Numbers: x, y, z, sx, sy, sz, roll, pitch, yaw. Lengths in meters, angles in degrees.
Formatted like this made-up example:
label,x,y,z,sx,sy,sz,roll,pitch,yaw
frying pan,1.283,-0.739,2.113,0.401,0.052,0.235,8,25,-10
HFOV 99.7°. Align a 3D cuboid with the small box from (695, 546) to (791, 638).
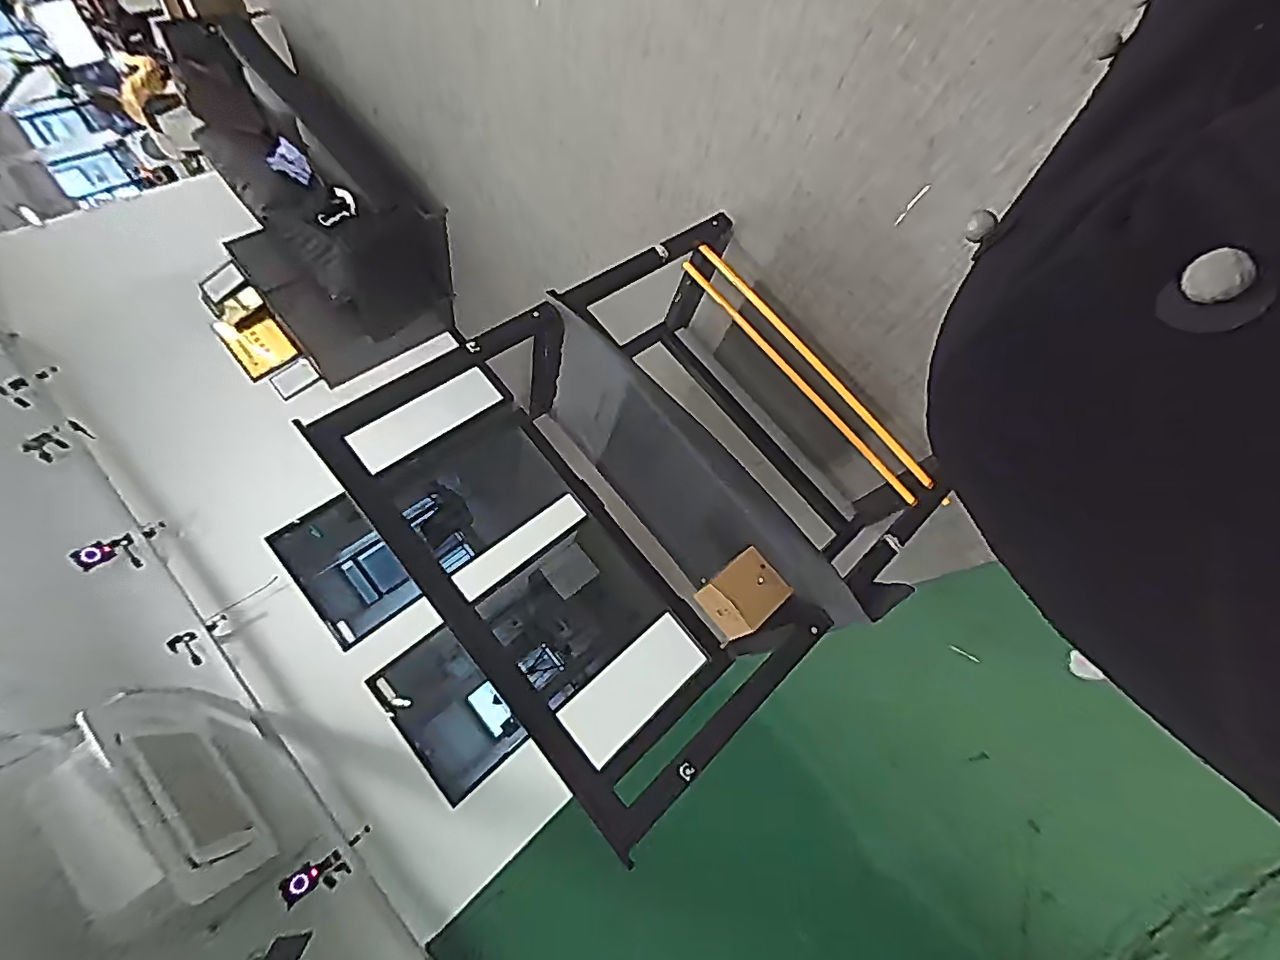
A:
label,x,y,z,sx,sy,sz,roll,pitch,yaw
small box,0.286,0.312,1.502,0.168,0.176,0.179,48,155,10
